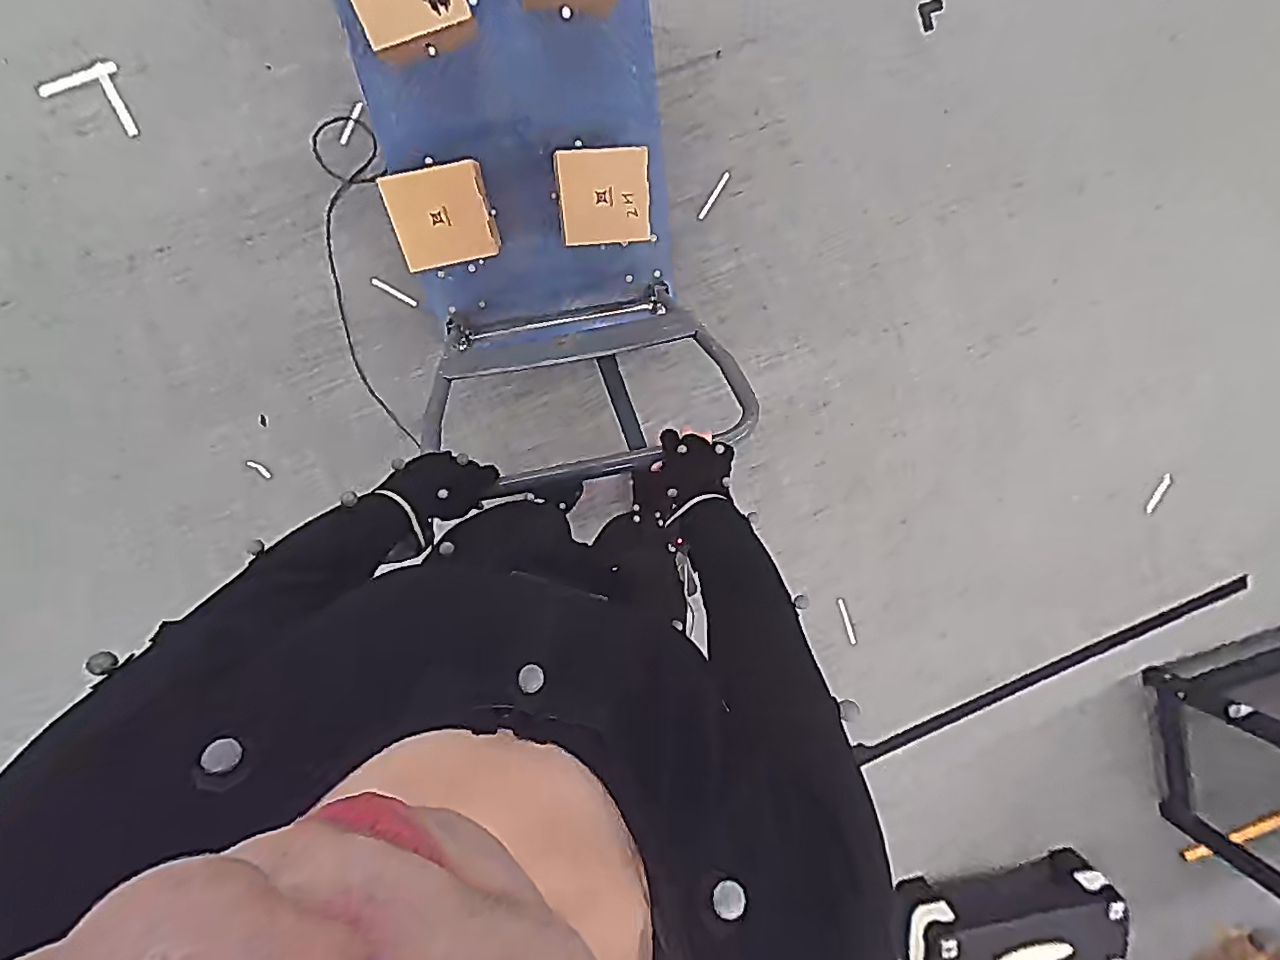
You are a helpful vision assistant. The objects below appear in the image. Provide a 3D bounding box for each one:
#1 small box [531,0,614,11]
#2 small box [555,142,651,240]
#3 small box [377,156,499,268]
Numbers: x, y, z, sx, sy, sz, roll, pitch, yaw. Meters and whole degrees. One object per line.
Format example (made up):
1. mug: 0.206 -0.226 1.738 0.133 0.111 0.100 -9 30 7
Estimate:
1. small box: -0.119 -0.935 0.915 0.168 0.176 0.179 -3 120 -10
2. small box: -0.079 -0.593 1.113 0.179 0.176 0.168 -8 120 -8
3. small box: -0.390 -0.535 1.081 0.179 0.176 0.168 -15 120 -5
